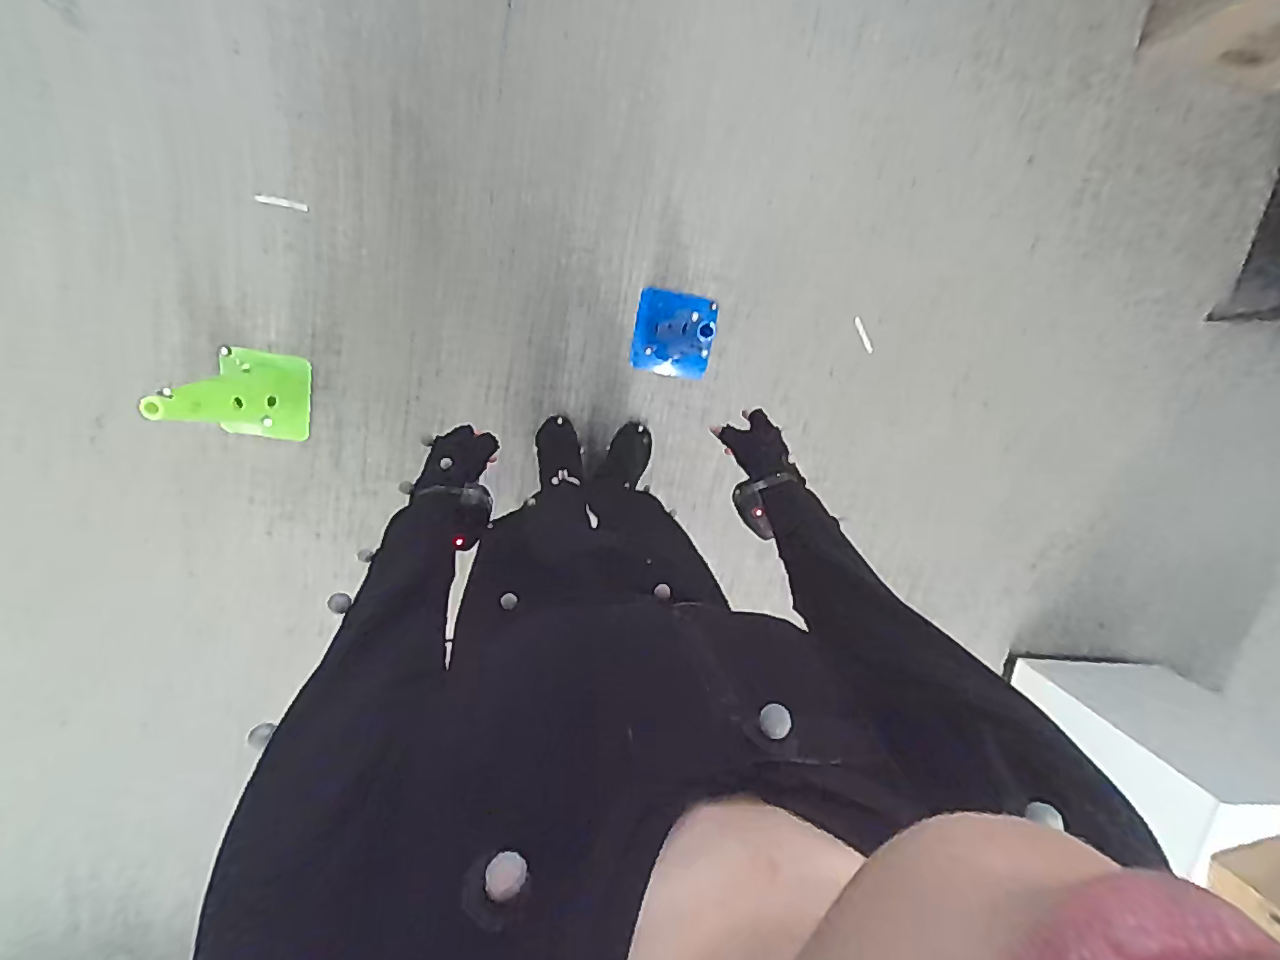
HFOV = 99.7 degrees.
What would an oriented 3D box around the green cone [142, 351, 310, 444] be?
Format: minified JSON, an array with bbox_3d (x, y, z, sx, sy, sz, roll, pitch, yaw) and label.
[{"bbox_3d":[-0.870,-0.153,1.111,0.202,0.368,0.200,7,102,-8],"label":"green cone"}]
